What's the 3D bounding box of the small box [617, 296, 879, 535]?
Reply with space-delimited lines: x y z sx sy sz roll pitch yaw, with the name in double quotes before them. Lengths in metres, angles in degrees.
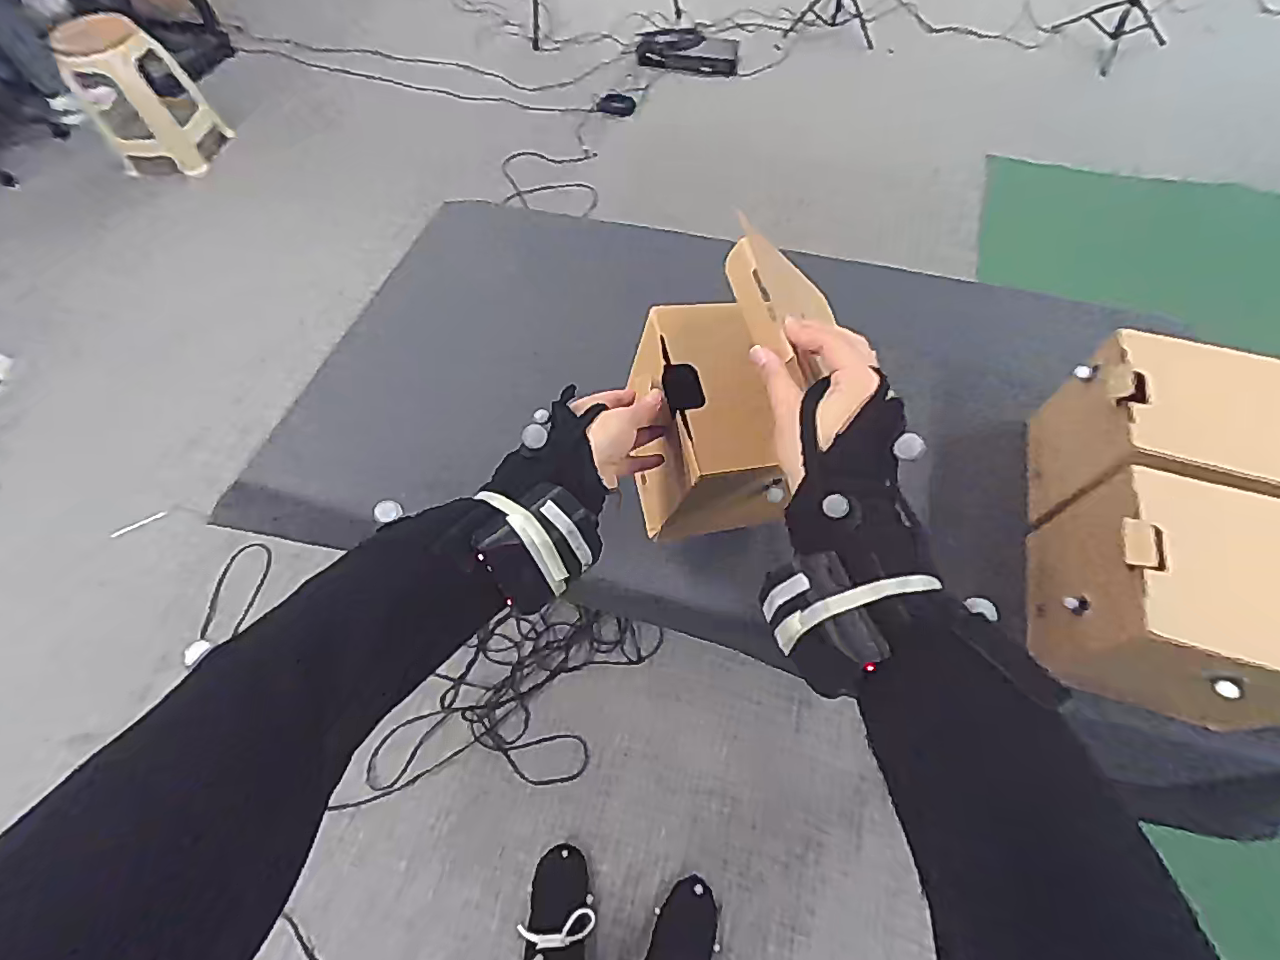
"small box" 0.087 -0.056 0.530 0.179 0.176 0.168 -8 68 -15
